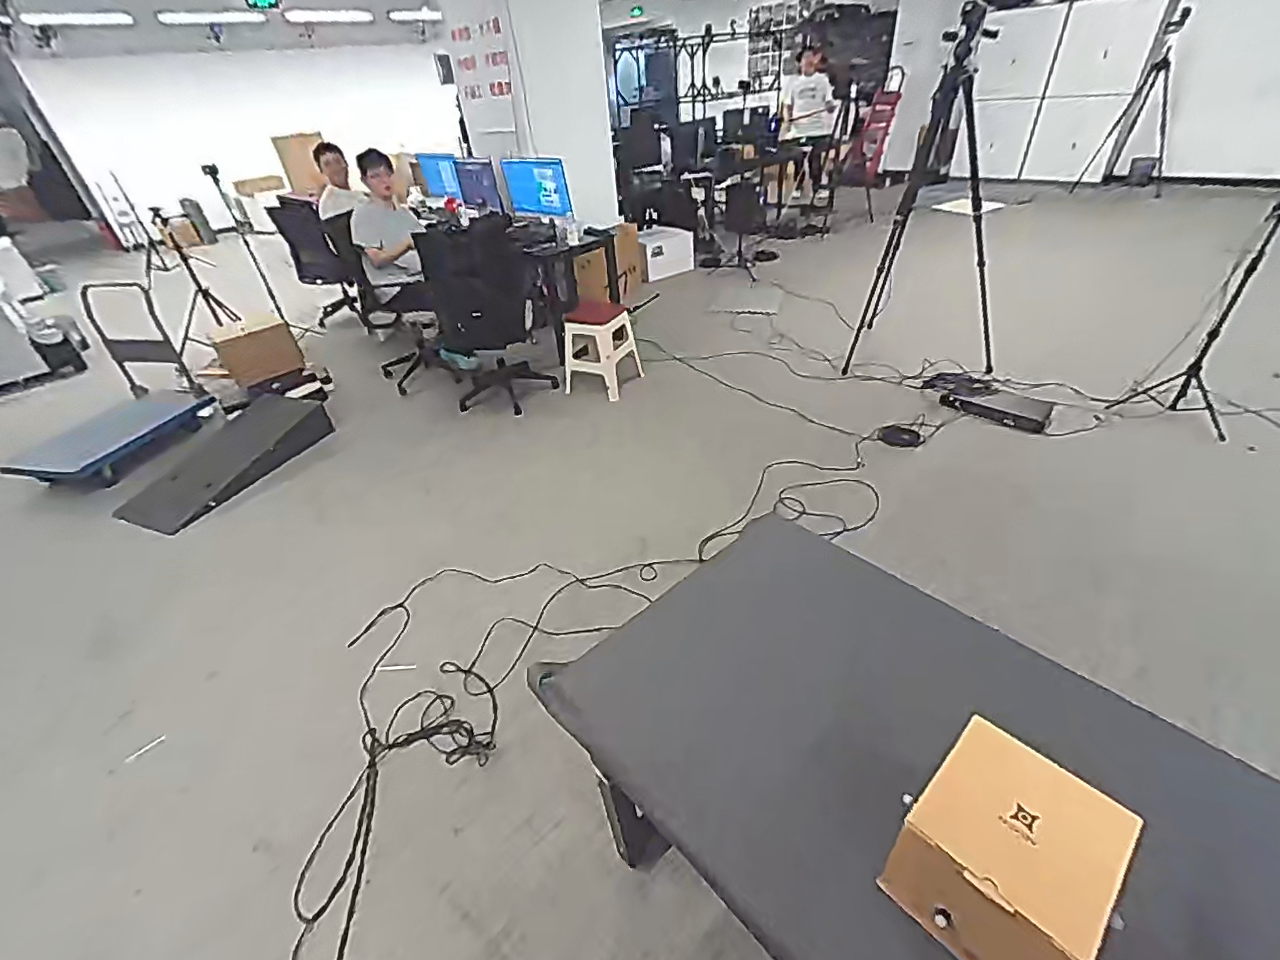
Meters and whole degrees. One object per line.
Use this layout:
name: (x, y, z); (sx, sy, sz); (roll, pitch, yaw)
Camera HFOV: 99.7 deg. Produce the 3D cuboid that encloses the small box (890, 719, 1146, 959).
small box: (0.406, 0.420, 0.605); (0.179, 0.176, 0.168); (-32, 43, -30)
